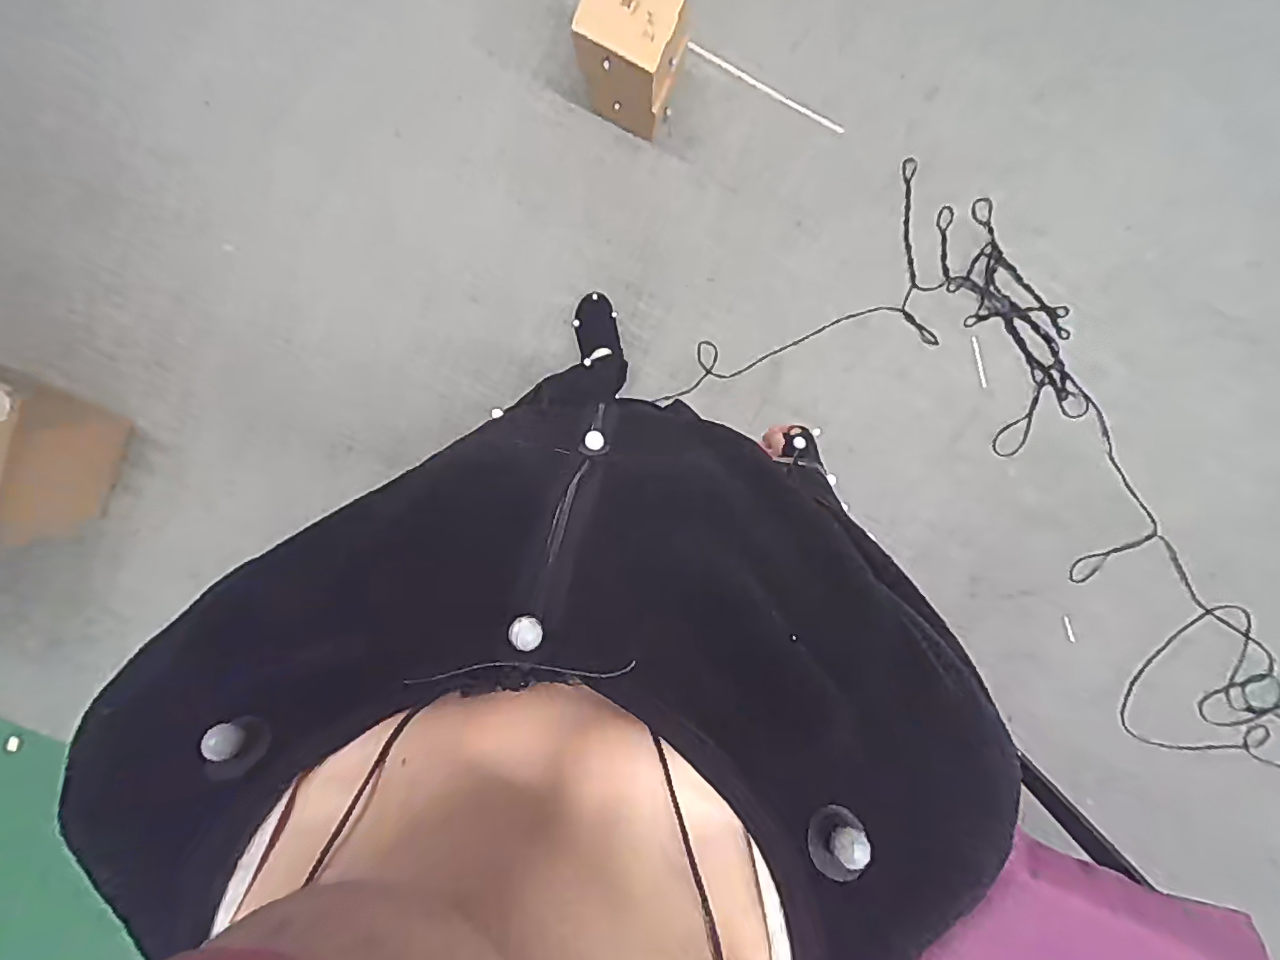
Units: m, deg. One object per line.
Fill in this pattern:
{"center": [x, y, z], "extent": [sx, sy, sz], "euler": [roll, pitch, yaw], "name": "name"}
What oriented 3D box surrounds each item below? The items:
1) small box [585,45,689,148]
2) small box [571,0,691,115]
{"center": [-0.009, -0.898, 1.232], "extent": [0.179, 0.176, 0.168], "euler": [24, 101, -6], "name": "small box"}
{"center": [-0.017, -0.869, 1.070], "extent": [0.179, 0.176, 0.168], "euler": [25, 101, -6], "name": "small box"}
